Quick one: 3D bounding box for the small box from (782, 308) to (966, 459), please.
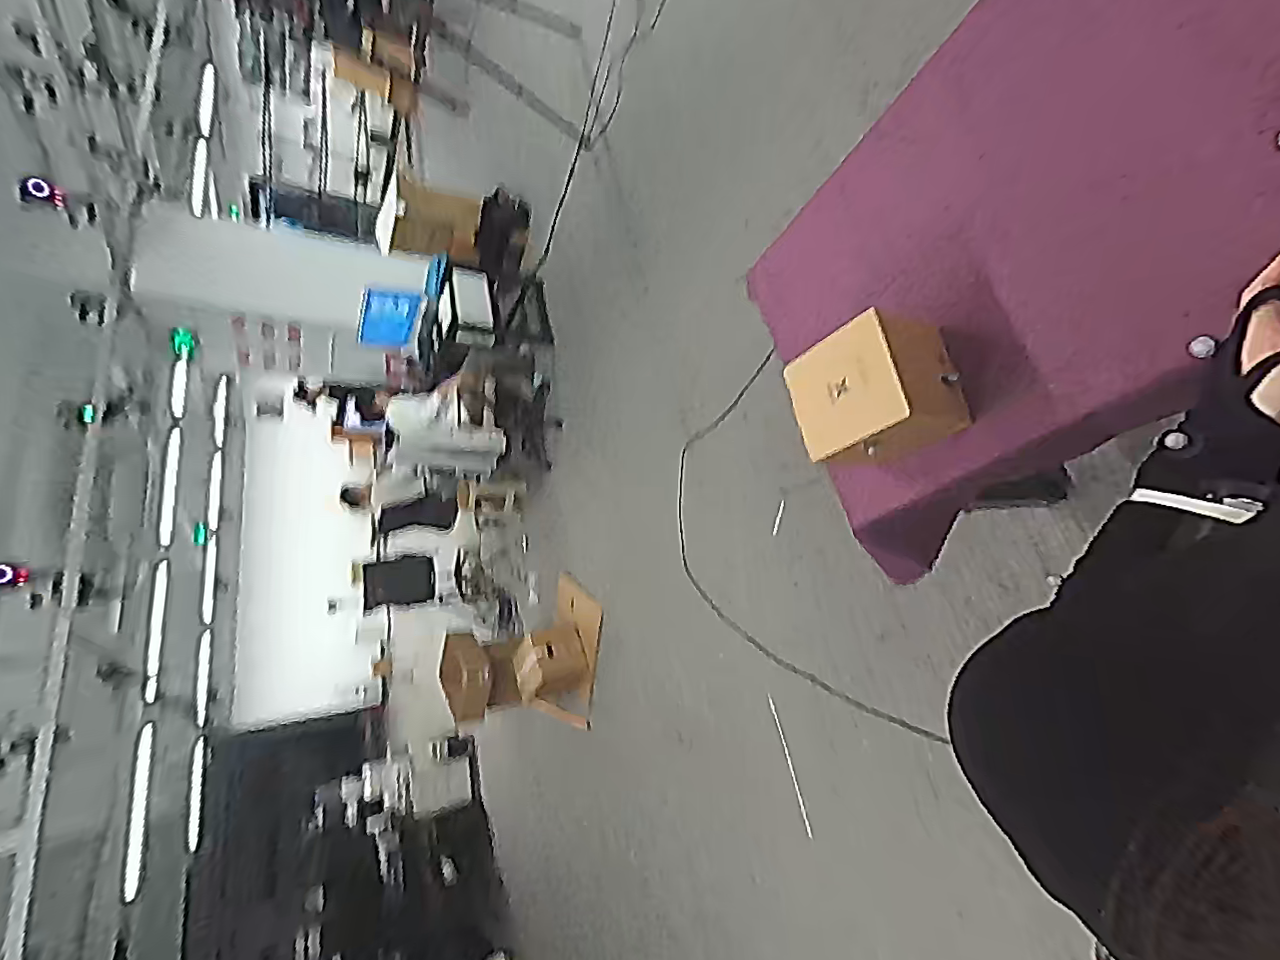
[{"bbox_3d":[0.357,-0.135,0.836,0.179,0.176,0.168,-33,63,52],"label":"small box"}]
